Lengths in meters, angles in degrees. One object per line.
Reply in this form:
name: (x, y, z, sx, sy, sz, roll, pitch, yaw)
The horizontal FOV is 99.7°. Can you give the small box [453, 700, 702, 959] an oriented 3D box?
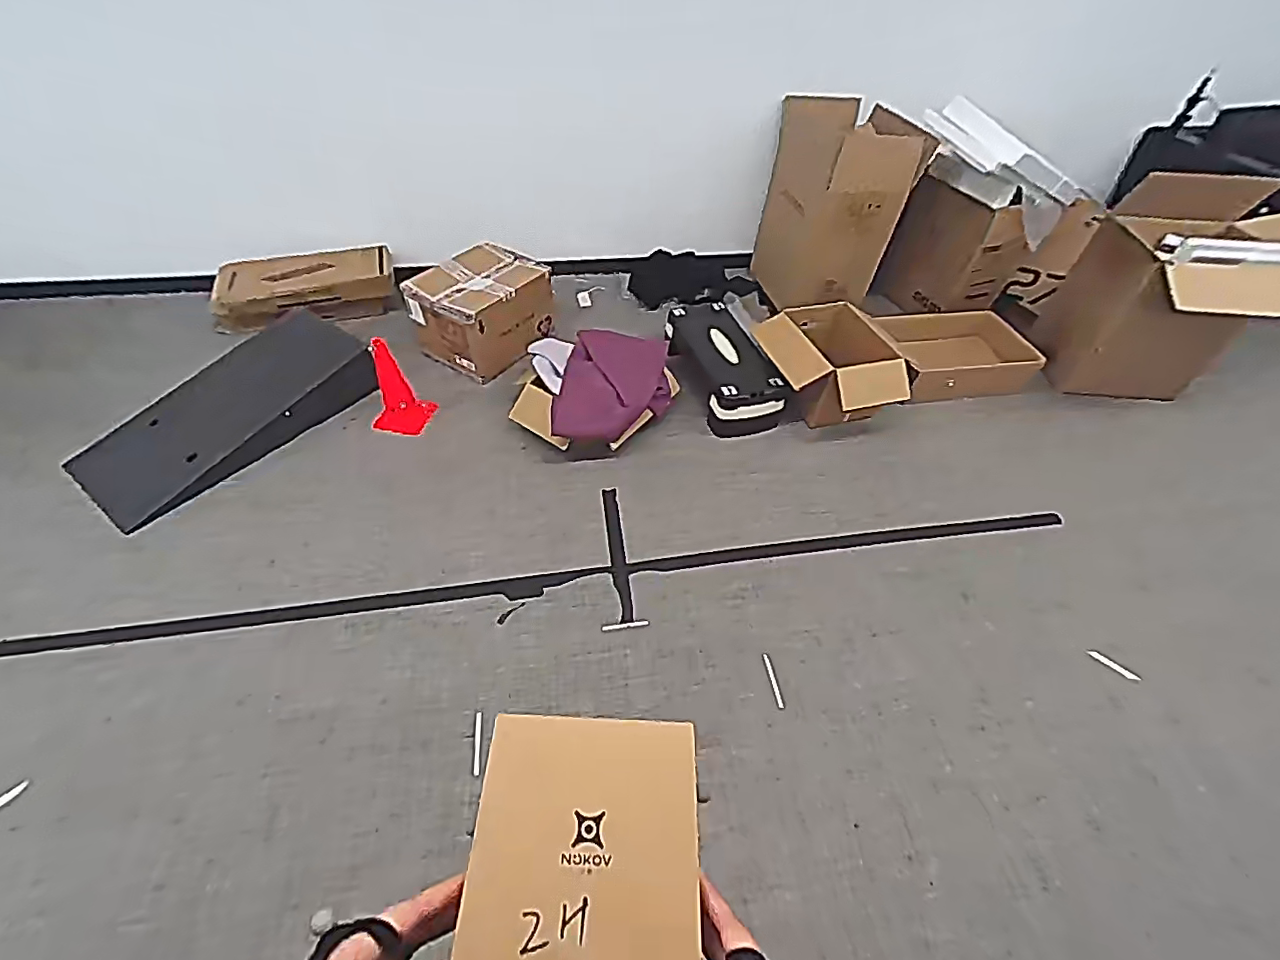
small box: (-0.042, 0.308, 0.463, 0.168, 0.176, 0.179, 4, 51, -1)
